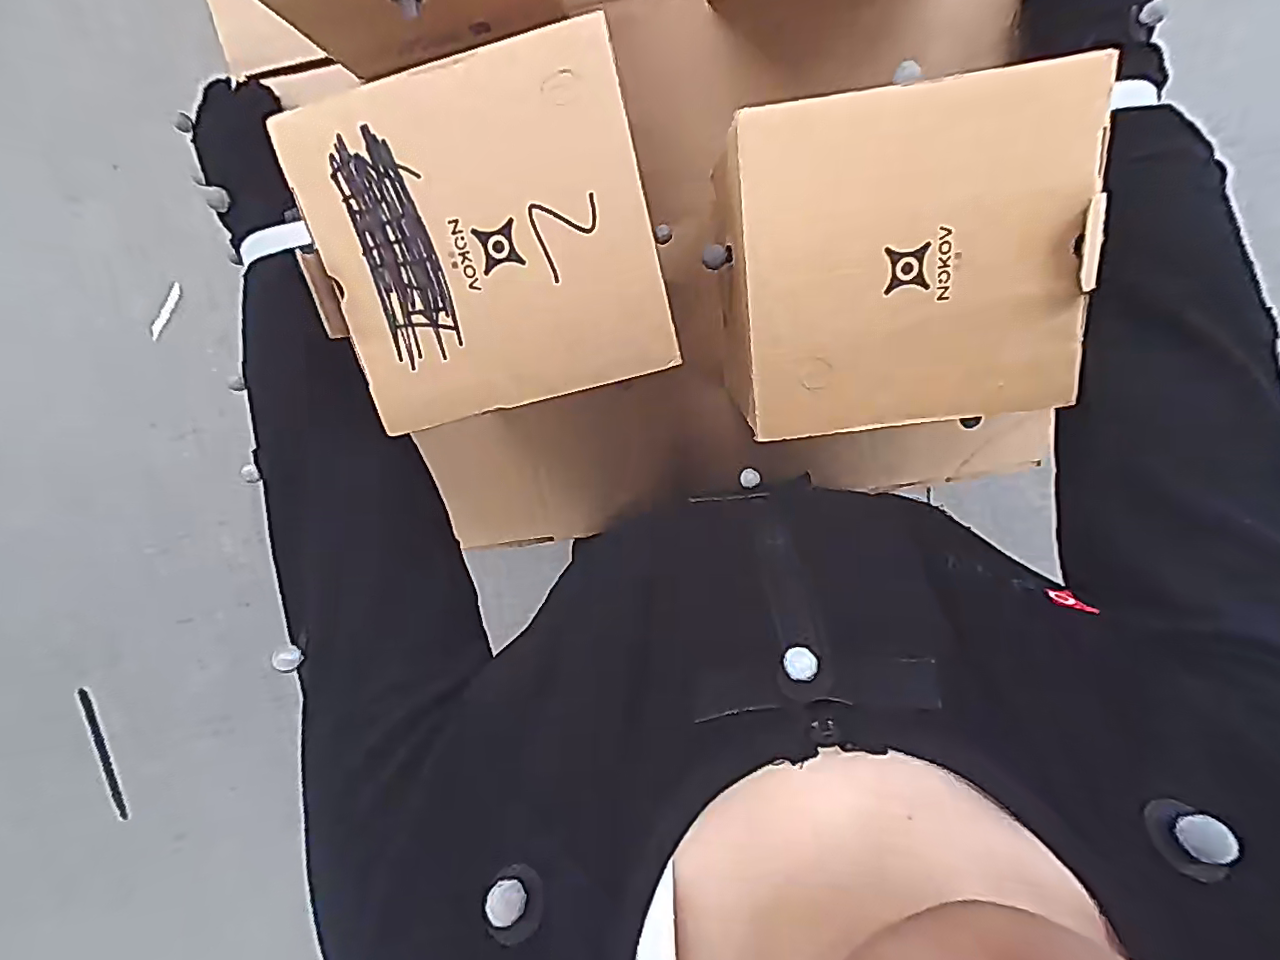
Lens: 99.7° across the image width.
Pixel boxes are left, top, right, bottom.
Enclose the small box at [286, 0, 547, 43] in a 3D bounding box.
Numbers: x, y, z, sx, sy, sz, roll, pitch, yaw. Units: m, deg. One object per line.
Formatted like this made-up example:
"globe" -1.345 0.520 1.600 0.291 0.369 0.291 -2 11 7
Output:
"small box" -0.154 -0.378 0.292 0.168 0.176 0.179 -10 107 5
